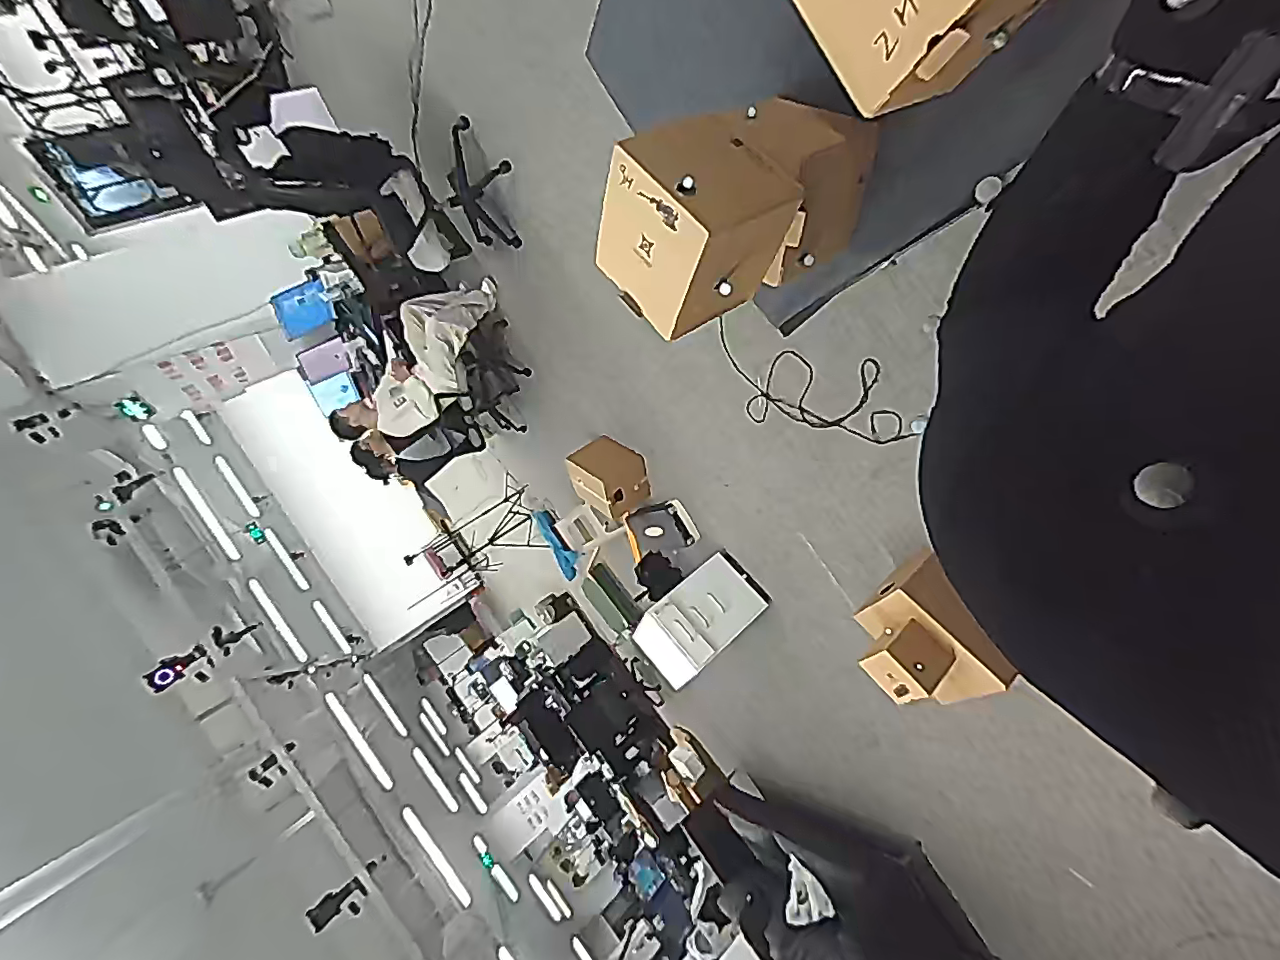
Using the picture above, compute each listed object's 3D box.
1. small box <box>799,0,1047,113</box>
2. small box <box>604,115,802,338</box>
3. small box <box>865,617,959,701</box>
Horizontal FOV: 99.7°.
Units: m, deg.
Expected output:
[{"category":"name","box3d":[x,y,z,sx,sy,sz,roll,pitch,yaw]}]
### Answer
[{"category":"small box","box3d":[0.282,-0.499,0.513,0.179,0.176,0.168,58,155,-1]},{"category":"small box","box3d":[0.076,-0.325,0.699,0.168,0.176,0.179,50,155,14]},{"category":"small box","box3d":[0.875,0.574,1.735,0.179,0.176,0.168,47,152,17]}]
